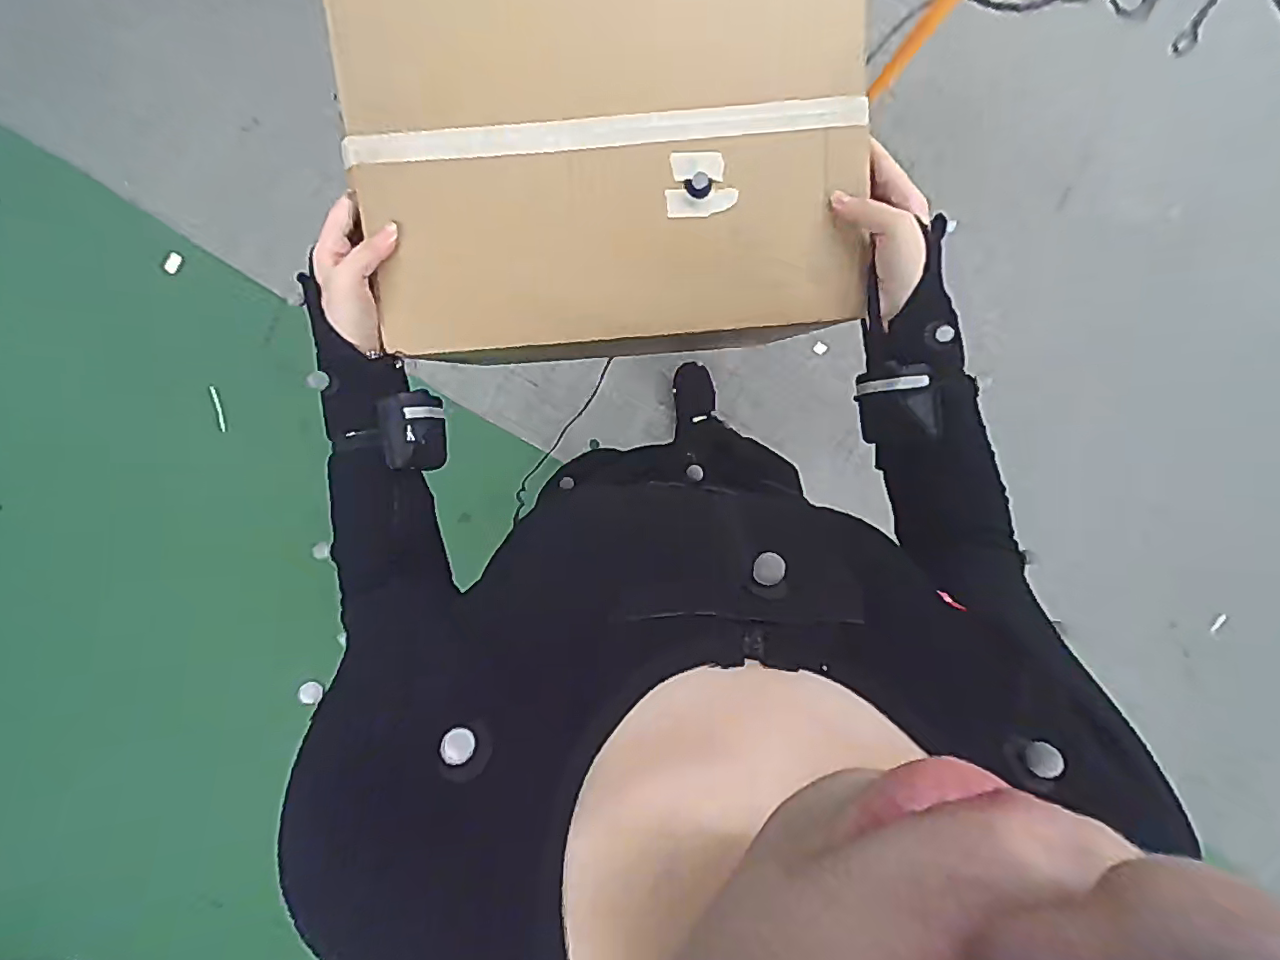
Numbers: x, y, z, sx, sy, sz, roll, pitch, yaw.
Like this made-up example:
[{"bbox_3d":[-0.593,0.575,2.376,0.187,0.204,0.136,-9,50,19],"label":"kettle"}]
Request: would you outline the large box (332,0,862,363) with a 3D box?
[{"bbox_3d":[-0.032,-0.307,0.575,0.408,0.320,0.320,-6,101,-2],"label":"large box"}]
